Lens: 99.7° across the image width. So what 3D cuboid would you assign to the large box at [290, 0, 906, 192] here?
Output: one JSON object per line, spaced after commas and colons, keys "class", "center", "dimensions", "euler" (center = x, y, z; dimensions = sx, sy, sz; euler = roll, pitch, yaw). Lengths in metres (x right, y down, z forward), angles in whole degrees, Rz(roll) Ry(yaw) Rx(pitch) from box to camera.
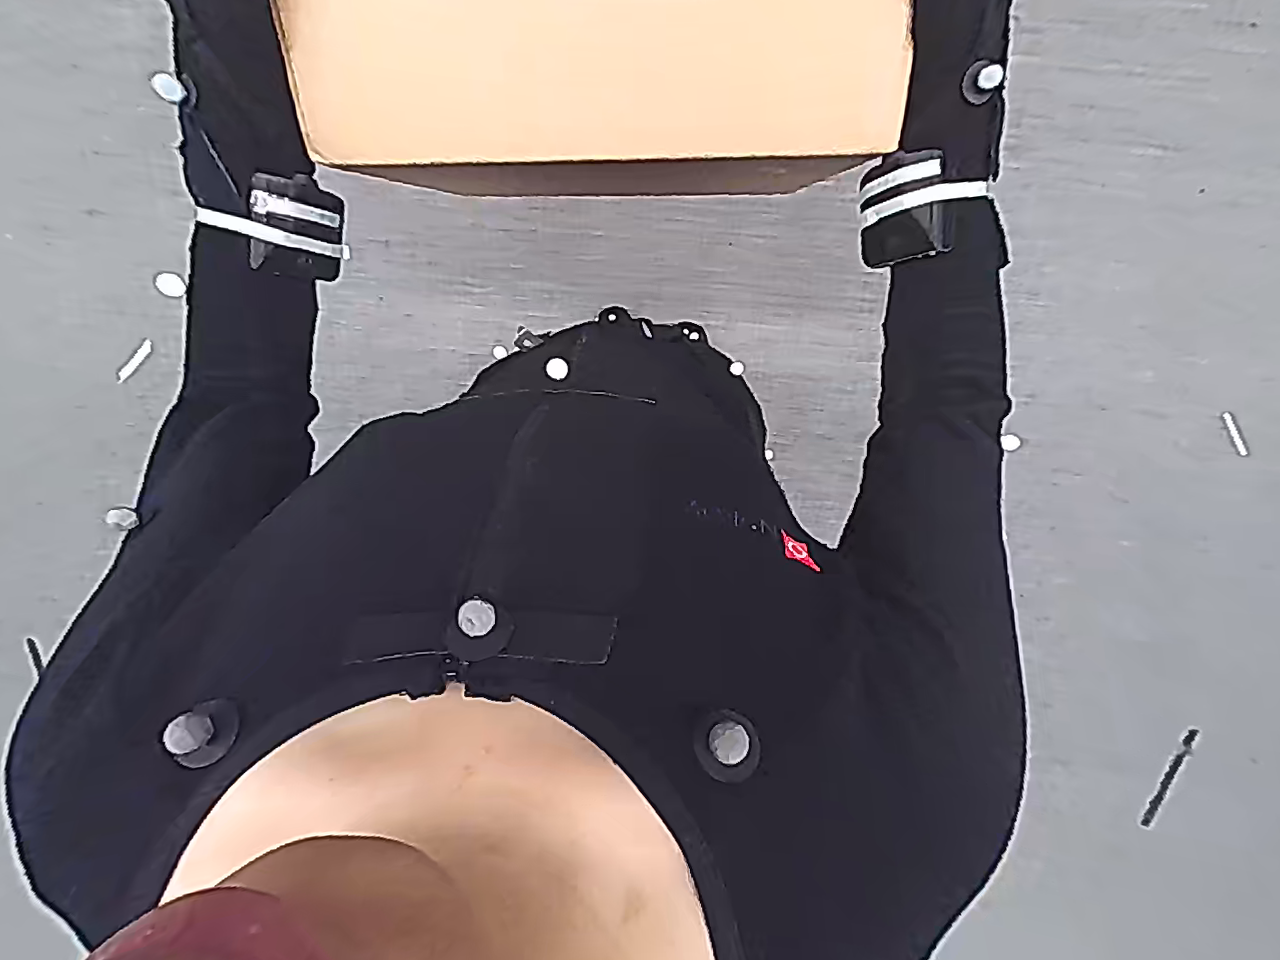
{"class": "large box", "center": [-0.027, -0.436, 0.453], "dimensions": [0.408, 0.320, 0.320], "euler": [0, 114, 3]}
